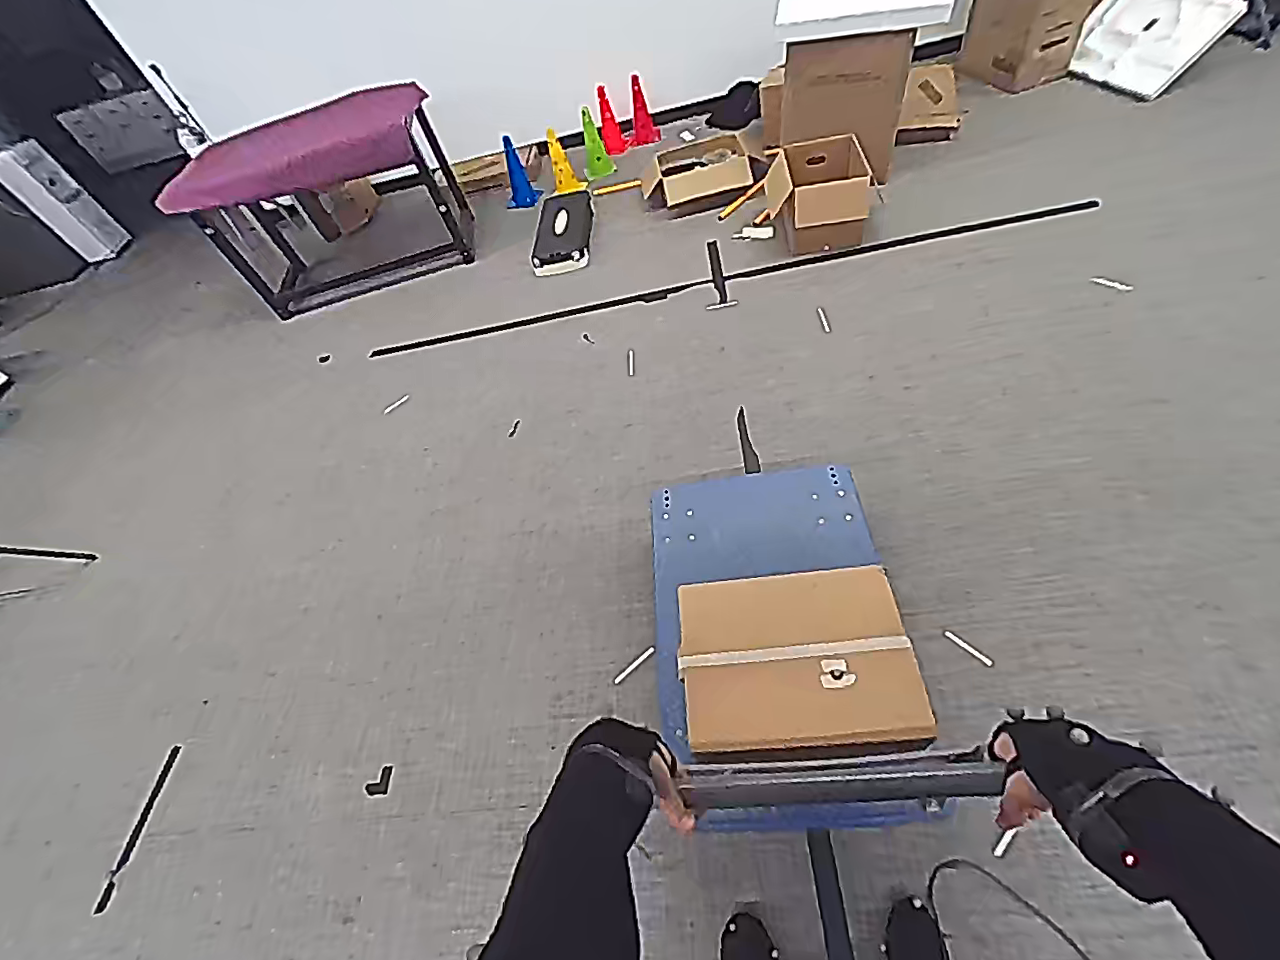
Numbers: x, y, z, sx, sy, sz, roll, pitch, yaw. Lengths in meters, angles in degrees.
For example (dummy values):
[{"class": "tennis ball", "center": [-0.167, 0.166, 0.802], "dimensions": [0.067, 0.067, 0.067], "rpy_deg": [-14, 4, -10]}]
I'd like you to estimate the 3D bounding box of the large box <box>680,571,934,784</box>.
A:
[{"class": "large box", "center": [0.308, 0.416, 1.110], "dimensions": [0.408, 0.320, 0.320], "rpy_deg": [-8, 53, 7]}]
